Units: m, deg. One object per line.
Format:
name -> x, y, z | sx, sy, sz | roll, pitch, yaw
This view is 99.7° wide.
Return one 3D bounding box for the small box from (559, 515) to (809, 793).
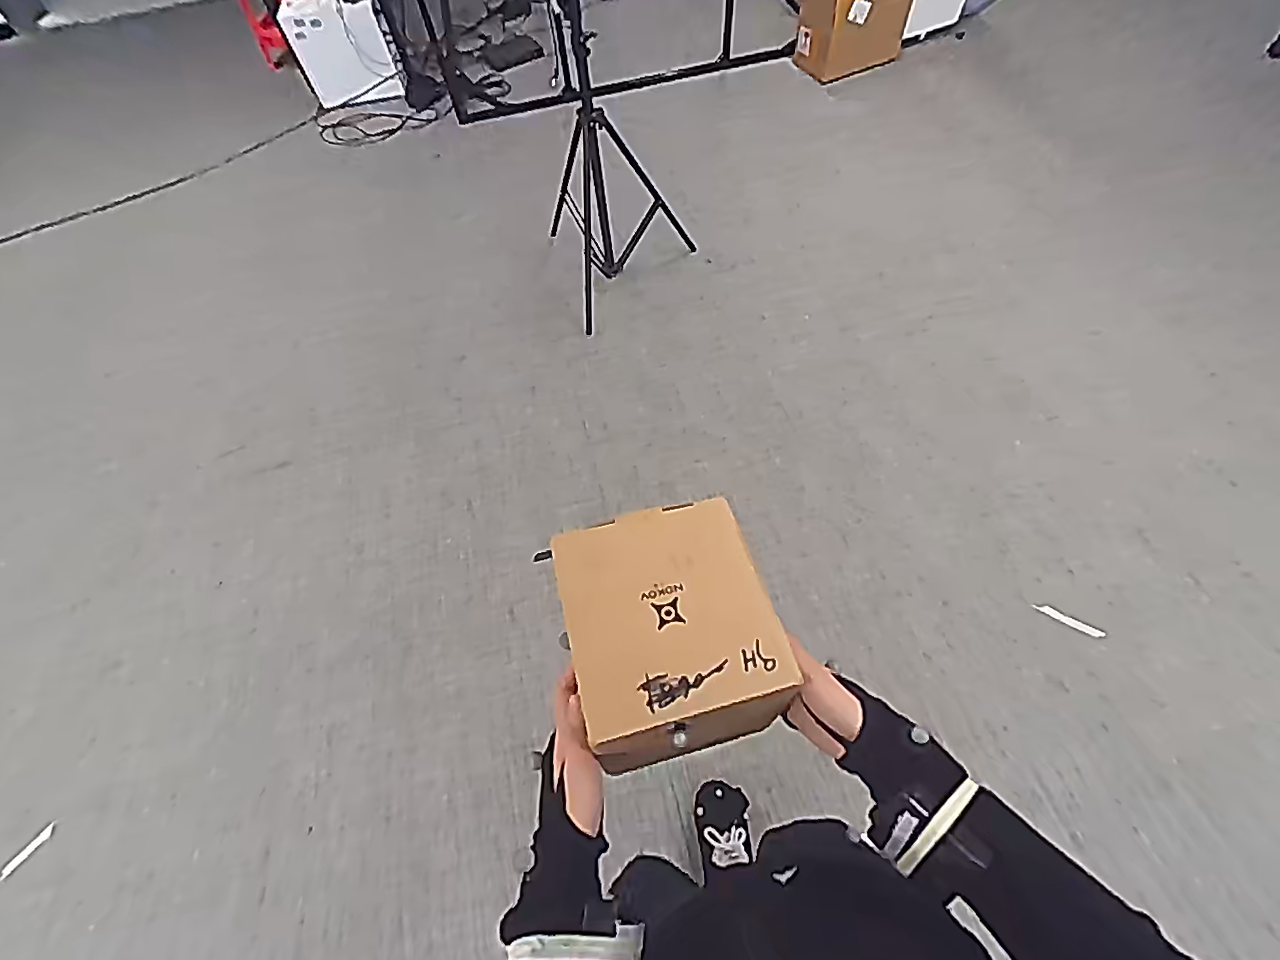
small box -> 0.027, 0.162, 0.499 | 0.168, 0.176, 0.179 | -12, 54, -8
